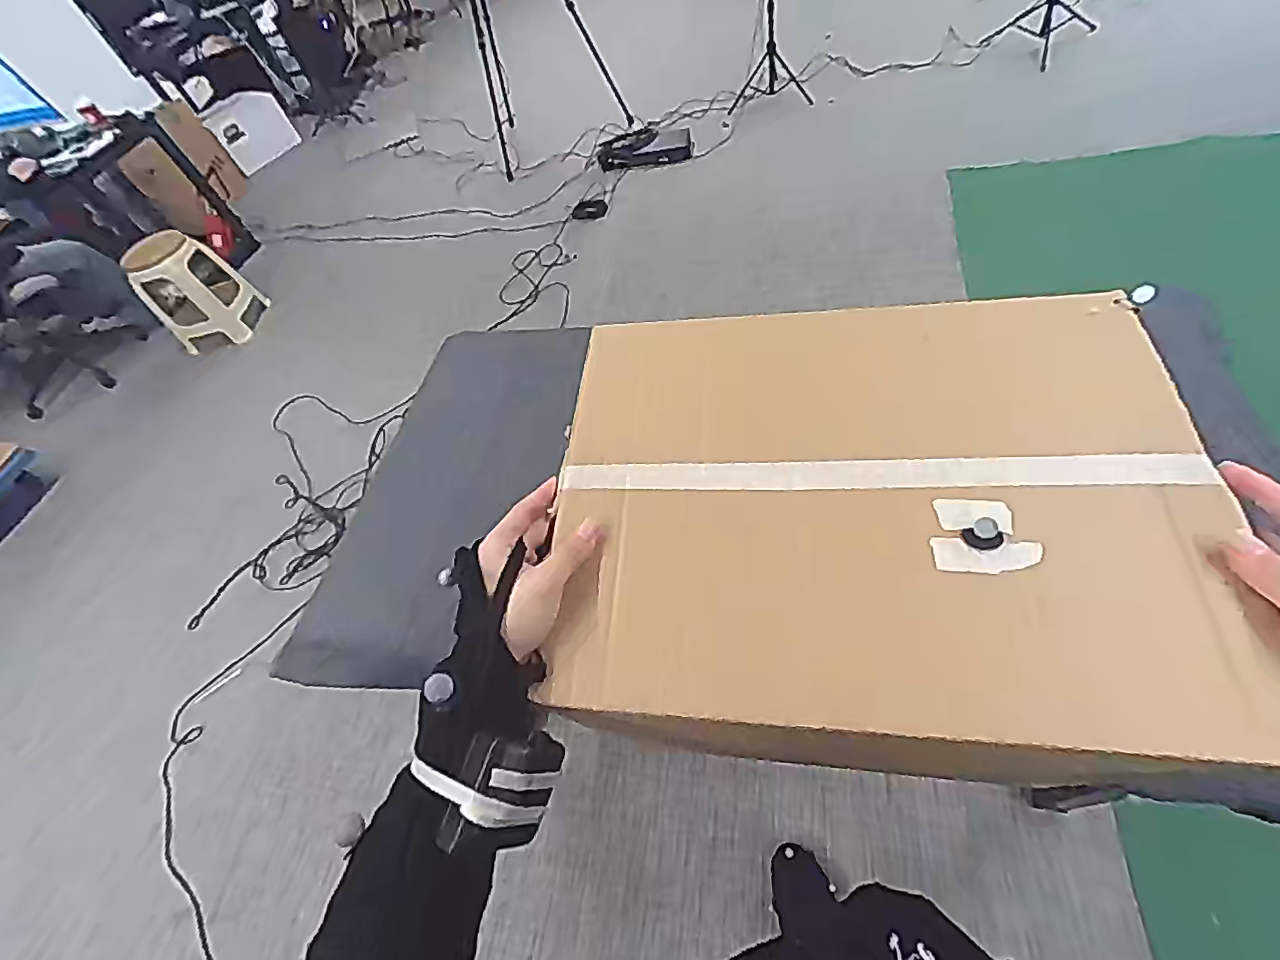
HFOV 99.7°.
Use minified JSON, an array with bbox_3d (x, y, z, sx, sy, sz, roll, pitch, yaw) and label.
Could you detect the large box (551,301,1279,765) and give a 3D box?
[{"bbox_3d":[0.171,0.070,0.502,0.408,0.320,0.320,0,61,11],"label":"large box"}]
